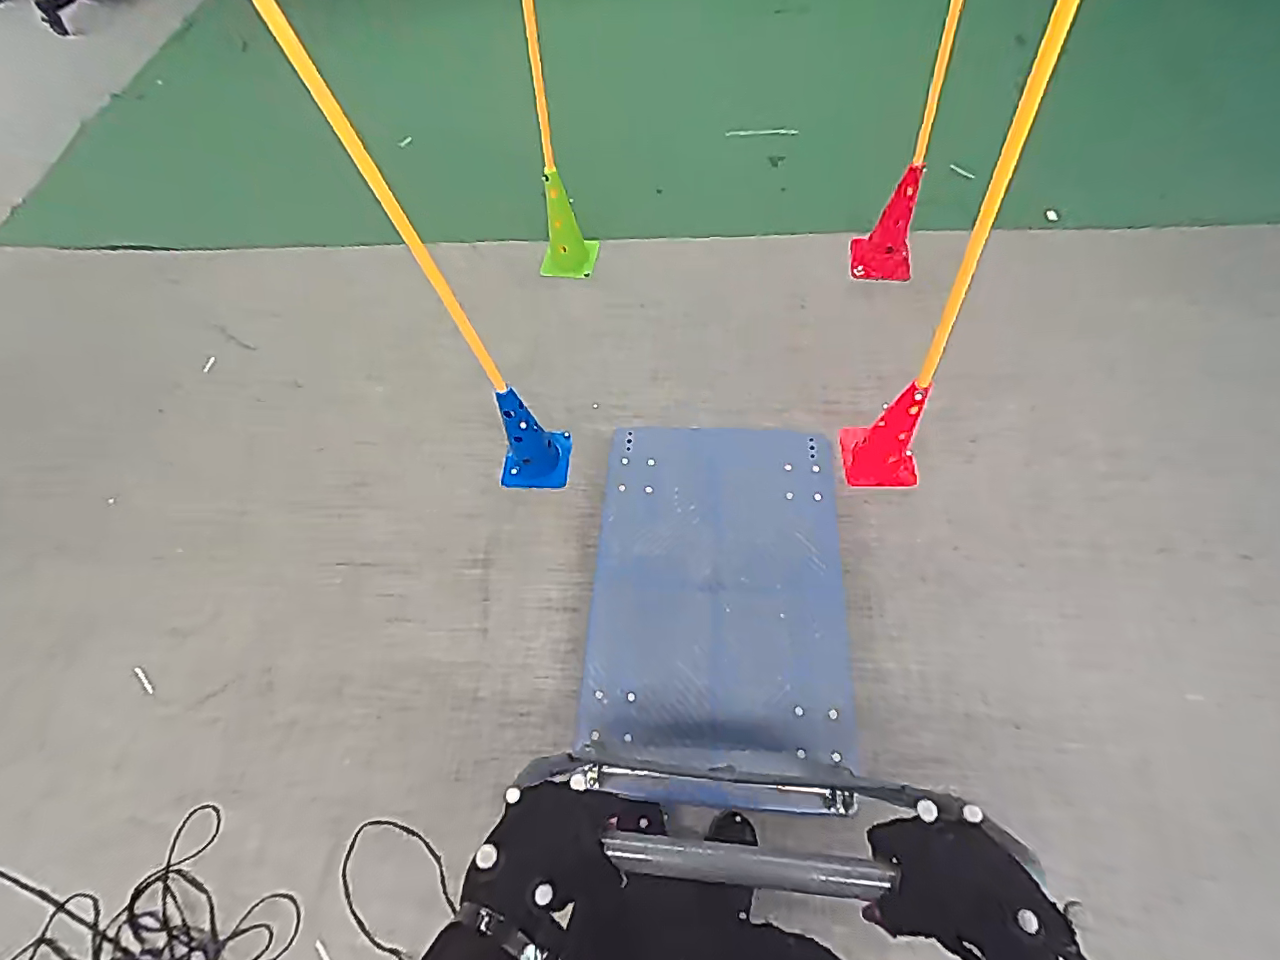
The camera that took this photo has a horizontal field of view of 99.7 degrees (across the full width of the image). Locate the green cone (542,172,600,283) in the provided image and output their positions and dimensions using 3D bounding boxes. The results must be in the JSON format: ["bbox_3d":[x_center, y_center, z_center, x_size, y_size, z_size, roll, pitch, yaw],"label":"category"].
[{"bbox_3d":[-0.277,-0.910,1.922,0.202,0.368,0.200,5,62,8],"label":"green cone"}]

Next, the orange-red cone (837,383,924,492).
[{"bbox_3d":[0.673,-0.132,1.440,0.199,0.360,0.198,0,62,6],"label":"orange-red cone"}]
